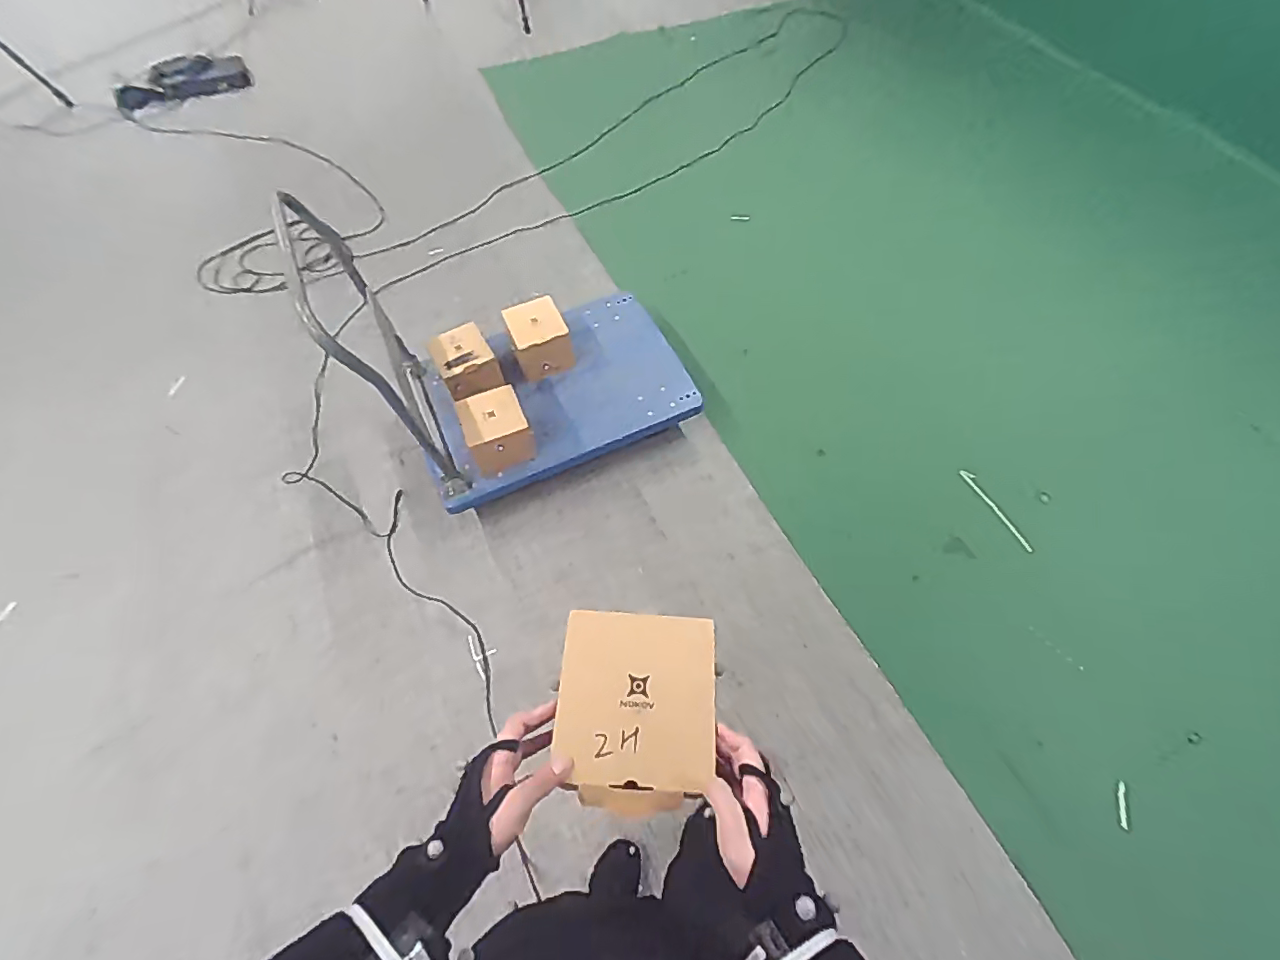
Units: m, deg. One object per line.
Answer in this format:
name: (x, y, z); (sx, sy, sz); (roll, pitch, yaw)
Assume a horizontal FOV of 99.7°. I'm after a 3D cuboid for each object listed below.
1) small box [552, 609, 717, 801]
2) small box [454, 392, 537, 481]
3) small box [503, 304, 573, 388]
small box: (-0.003, 0.269, 0.639); (0.168, 0.176, 0.179); (3, 58, 1)
small box: (-0.417, -0.122, 1.577); (0.179, 0.176, 0.168); (-21, 63, -12)
small box: (-0.326, -0.432, 1.750); (0.168, 0.176, 0.179); (-23, 65, -13)
